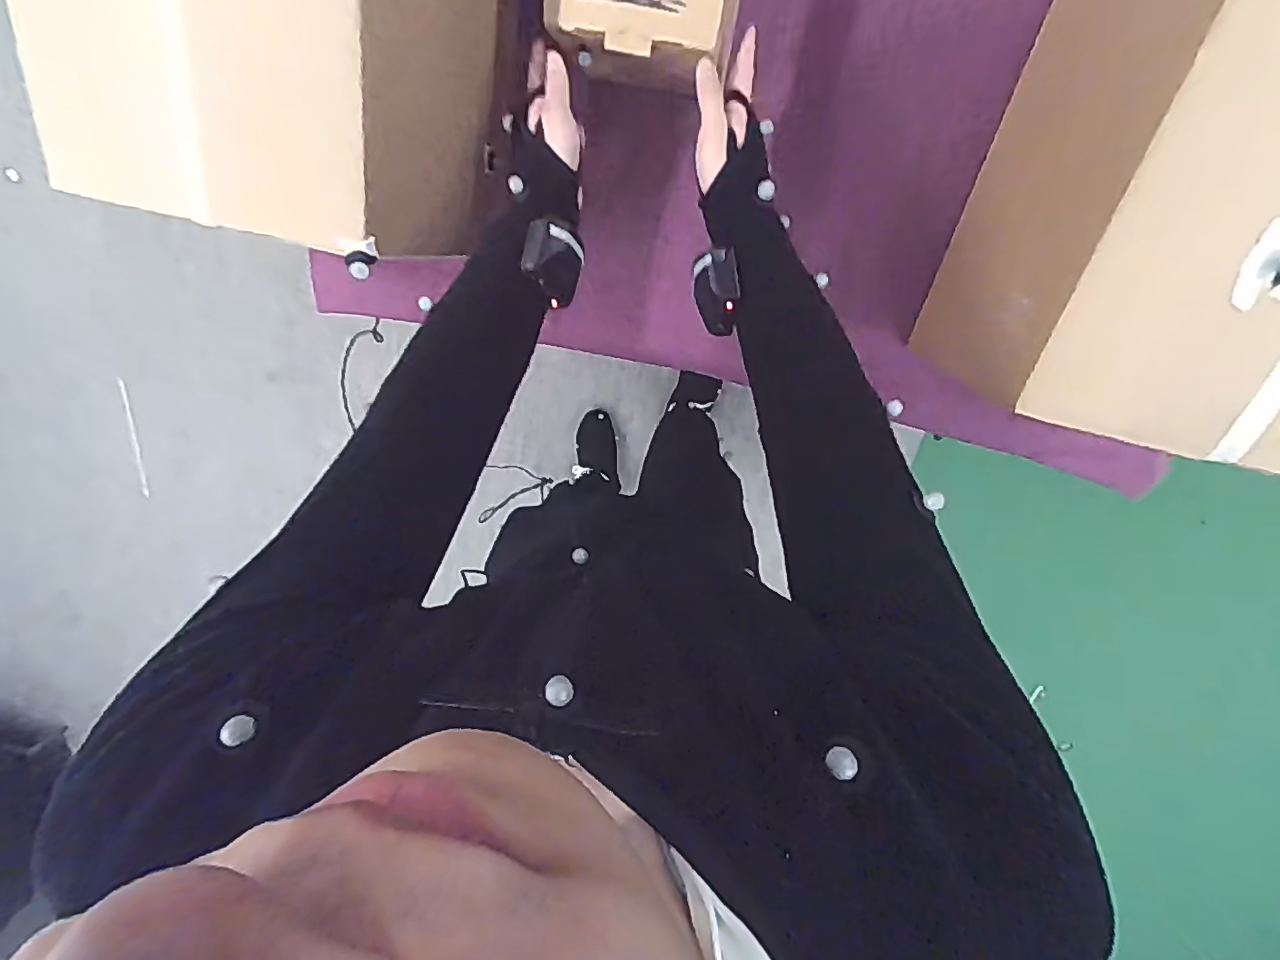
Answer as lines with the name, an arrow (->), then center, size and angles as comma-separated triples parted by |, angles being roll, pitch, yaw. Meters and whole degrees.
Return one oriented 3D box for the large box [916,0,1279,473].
large box -> 0.517, -0.255, 0.483 | 0.320, 0.320, 0.408 | 15, 115, 4
